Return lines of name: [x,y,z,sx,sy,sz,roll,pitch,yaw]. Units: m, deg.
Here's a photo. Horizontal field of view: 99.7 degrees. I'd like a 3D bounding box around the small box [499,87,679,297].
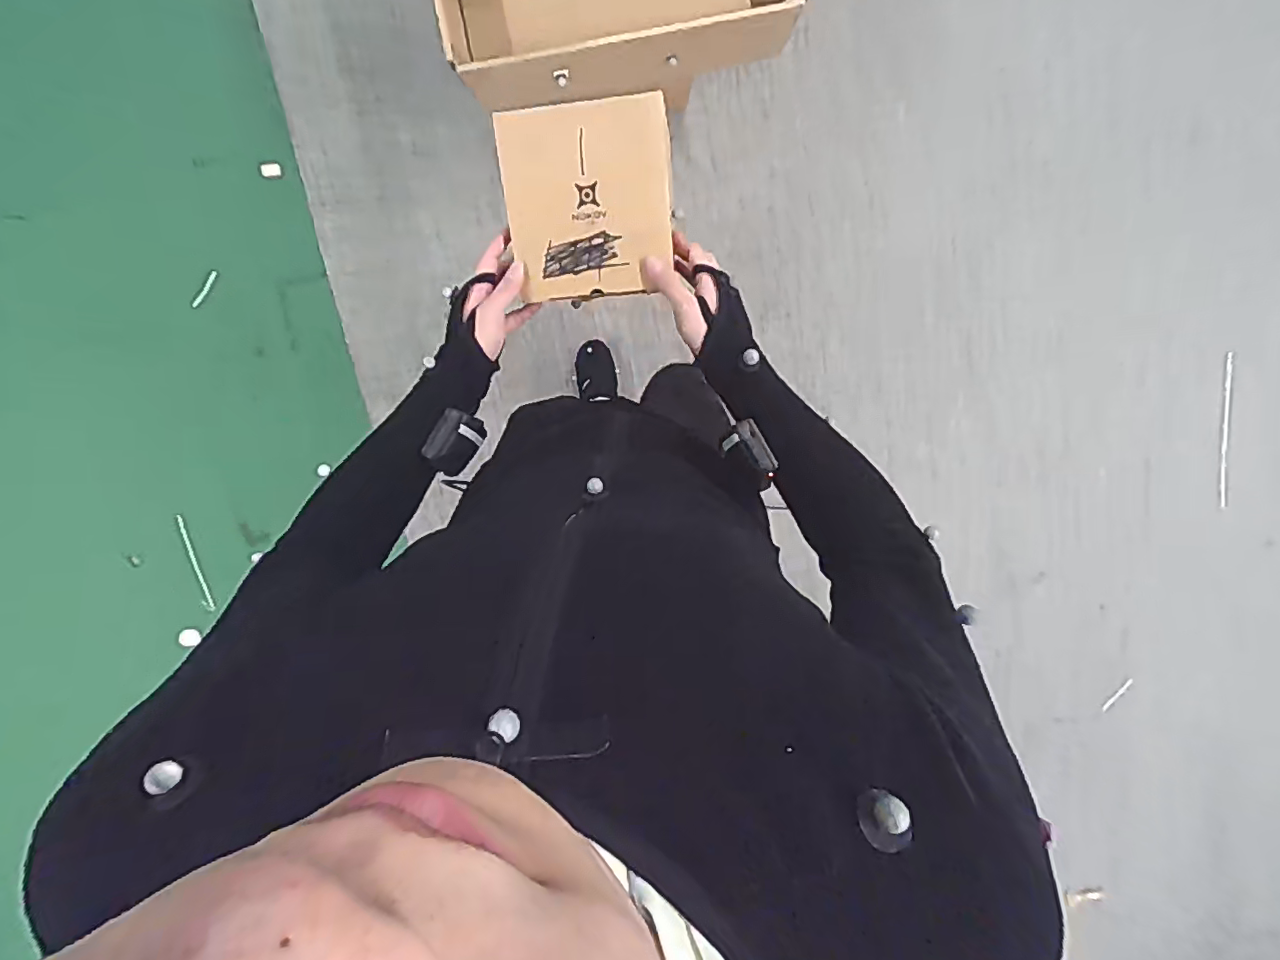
small box: [-0.041,-0.306,0.607,0.168,0.176,0.179,-3,110,5]
